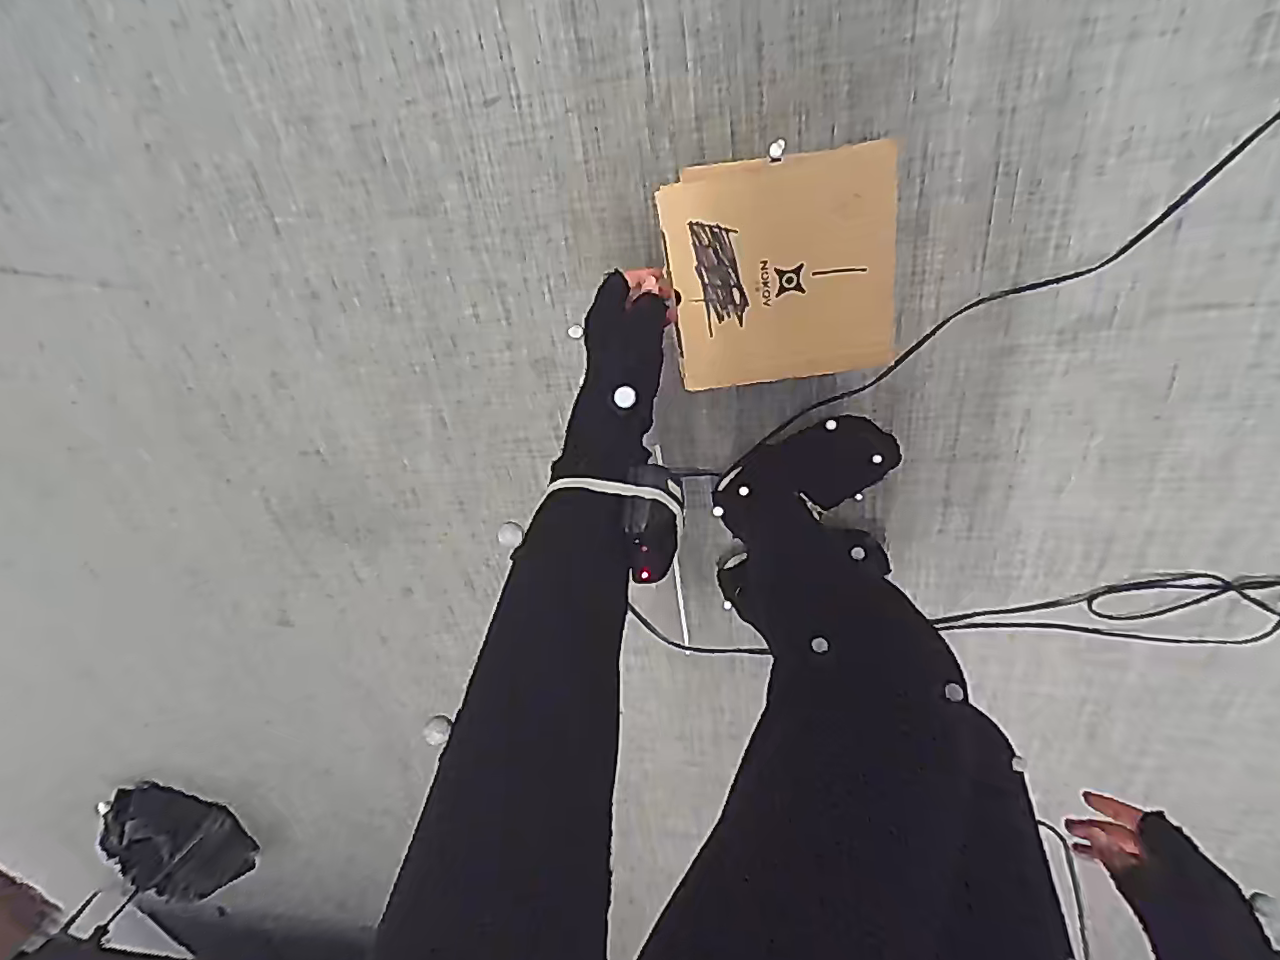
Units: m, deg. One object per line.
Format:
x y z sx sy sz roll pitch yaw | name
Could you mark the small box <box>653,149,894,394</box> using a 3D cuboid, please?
0.120 -0.192 0.501 0.179 0.176 0.168 -5 118 12 | small box
